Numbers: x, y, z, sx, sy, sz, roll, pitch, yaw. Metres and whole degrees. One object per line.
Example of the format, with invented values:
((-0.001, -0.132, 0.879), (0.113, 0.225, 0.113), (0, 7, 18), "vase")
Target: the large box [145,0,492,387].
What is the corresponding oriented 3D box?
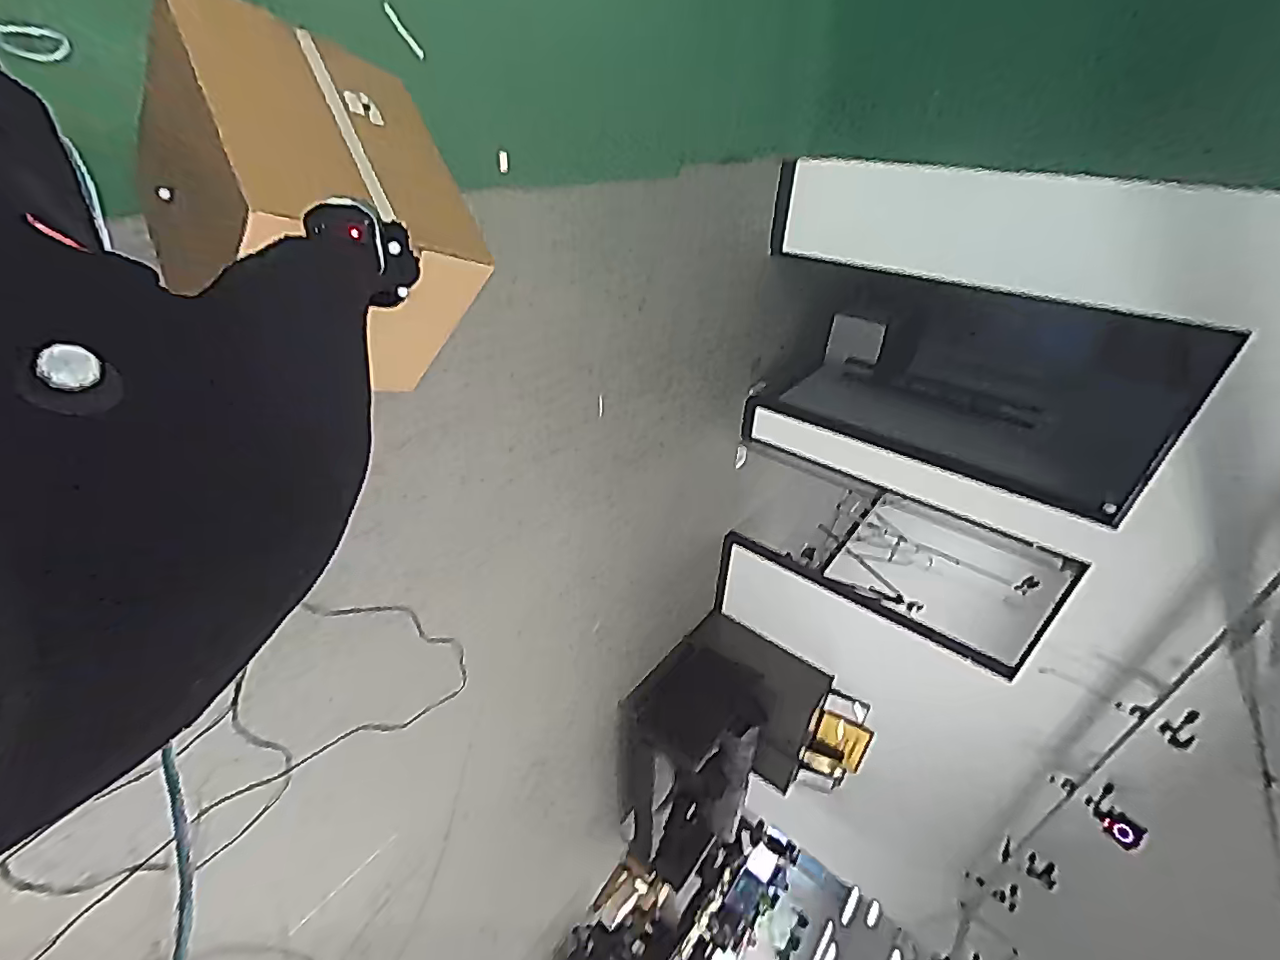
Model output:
((-0.500, -0.393, 0.829), (0.320, 0.408, 0.320), (-40, 163, 35), "large box")
